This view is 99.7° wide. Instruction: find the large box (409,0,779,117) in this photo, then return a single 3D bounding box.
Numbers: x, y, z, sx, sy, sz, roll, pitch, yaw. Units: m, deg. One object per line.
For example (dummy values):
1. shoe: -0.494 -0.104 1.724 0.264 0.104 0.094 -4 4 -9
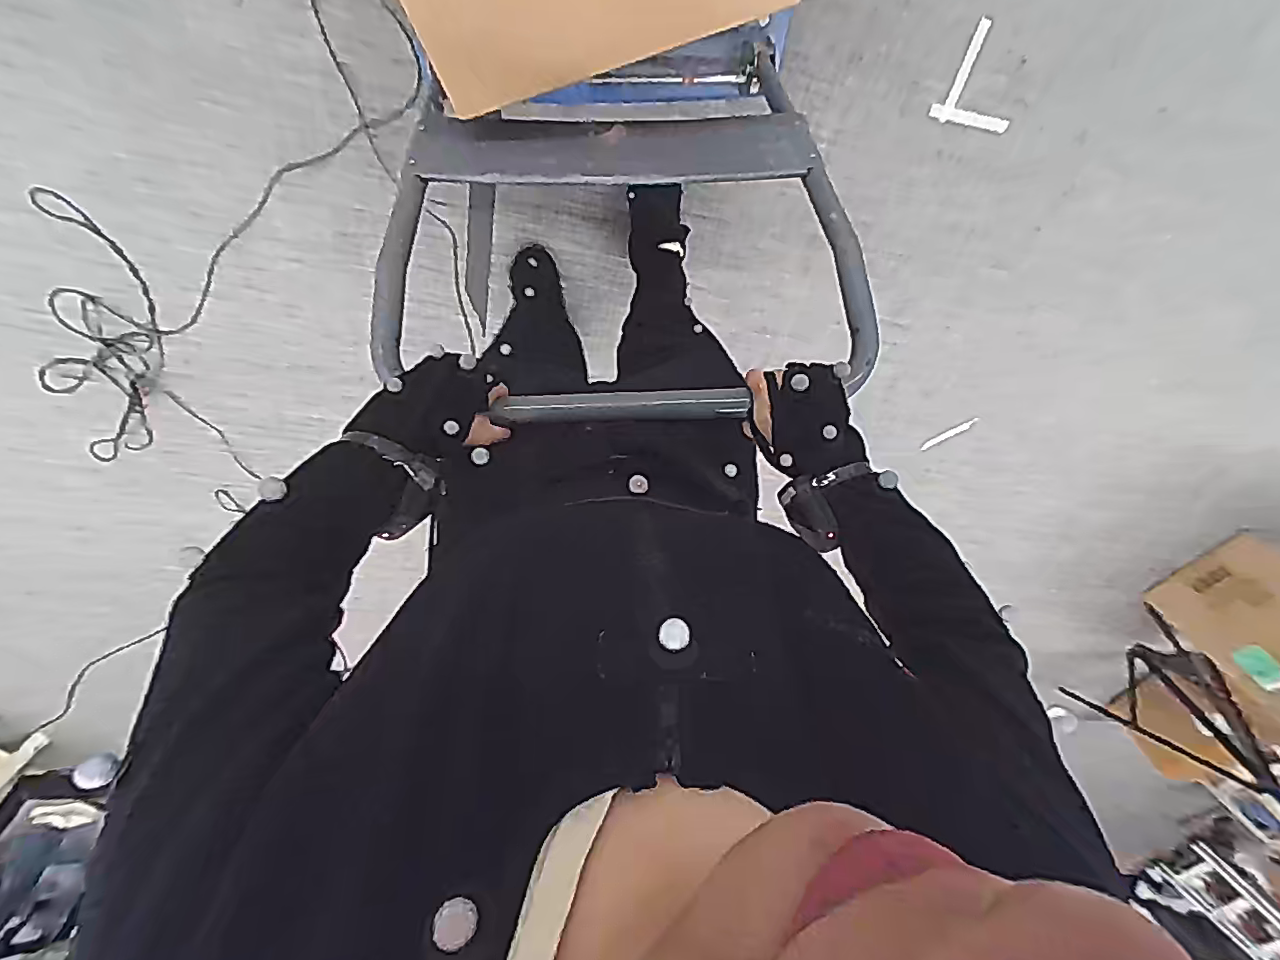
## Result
1. large box: -0.075 -0.679 0.579 0.408 0.320 0.320 -13 145 9
